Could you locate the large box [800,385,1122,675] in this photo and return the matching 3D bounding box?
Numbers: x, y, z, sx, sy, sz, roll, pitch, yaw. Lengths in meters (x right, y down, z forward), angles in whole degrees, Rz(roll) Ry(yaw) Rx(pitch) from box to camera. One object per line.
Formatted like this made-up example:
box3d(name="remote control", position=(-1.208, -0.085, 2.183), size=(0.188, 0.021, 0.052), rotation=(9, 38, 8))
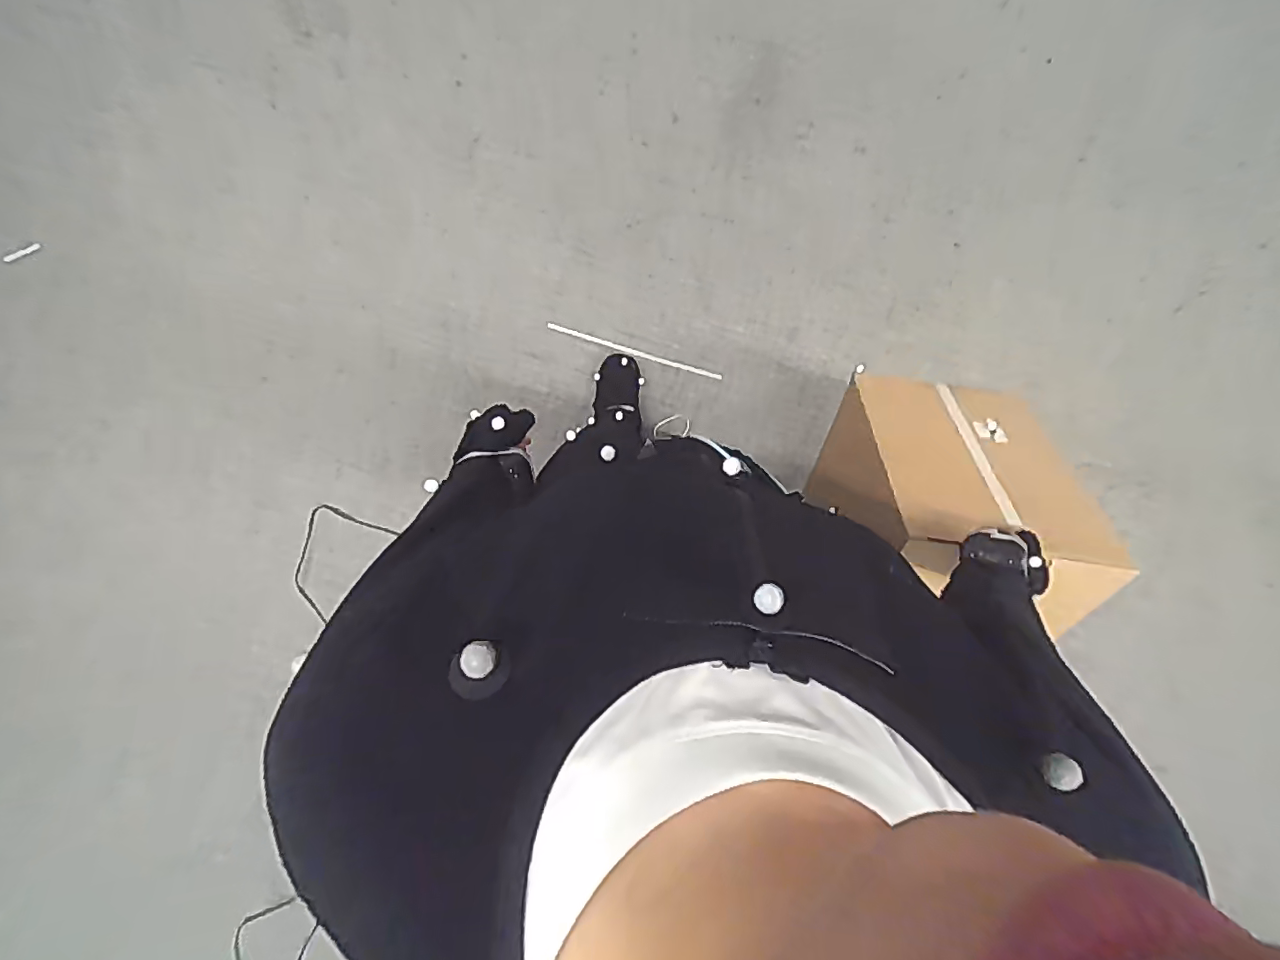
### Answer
box3d(name="large box", position=(0.504, 0.082, 0.971), size=(0.320, 0.408, 0.320), rotation=(9, 132, -1))
